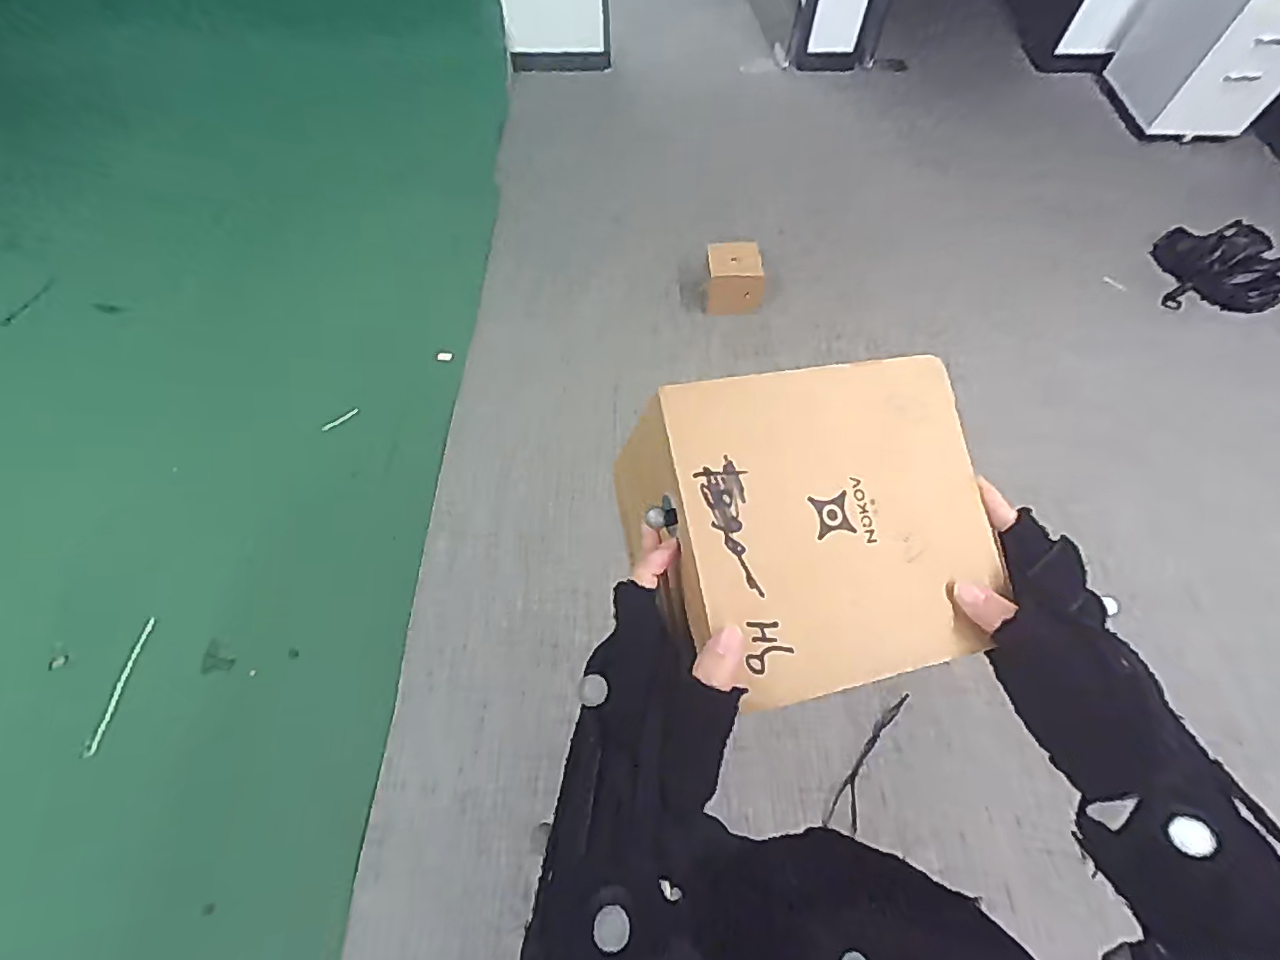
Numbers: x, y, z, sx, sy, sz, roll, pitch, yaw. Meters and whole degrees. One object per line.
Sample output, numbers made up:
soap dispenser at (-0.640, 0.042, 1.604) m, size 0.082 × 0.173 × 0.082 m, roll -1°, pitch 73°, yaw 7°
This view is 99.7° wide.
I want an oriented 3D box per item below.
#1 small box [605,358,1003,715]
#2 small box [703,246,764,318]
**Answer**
small box at (0.085, 0.036, 0.366) m, size 0.179 × 0.176 × 0.168 m, roll -11°, pitch 80°, yaw -13°
small box at (0.315, -0.677, 1.857) m, size 0.179 × 0.176 × 0.168 m, roll -3°, pitch 60°, yaw 0°
